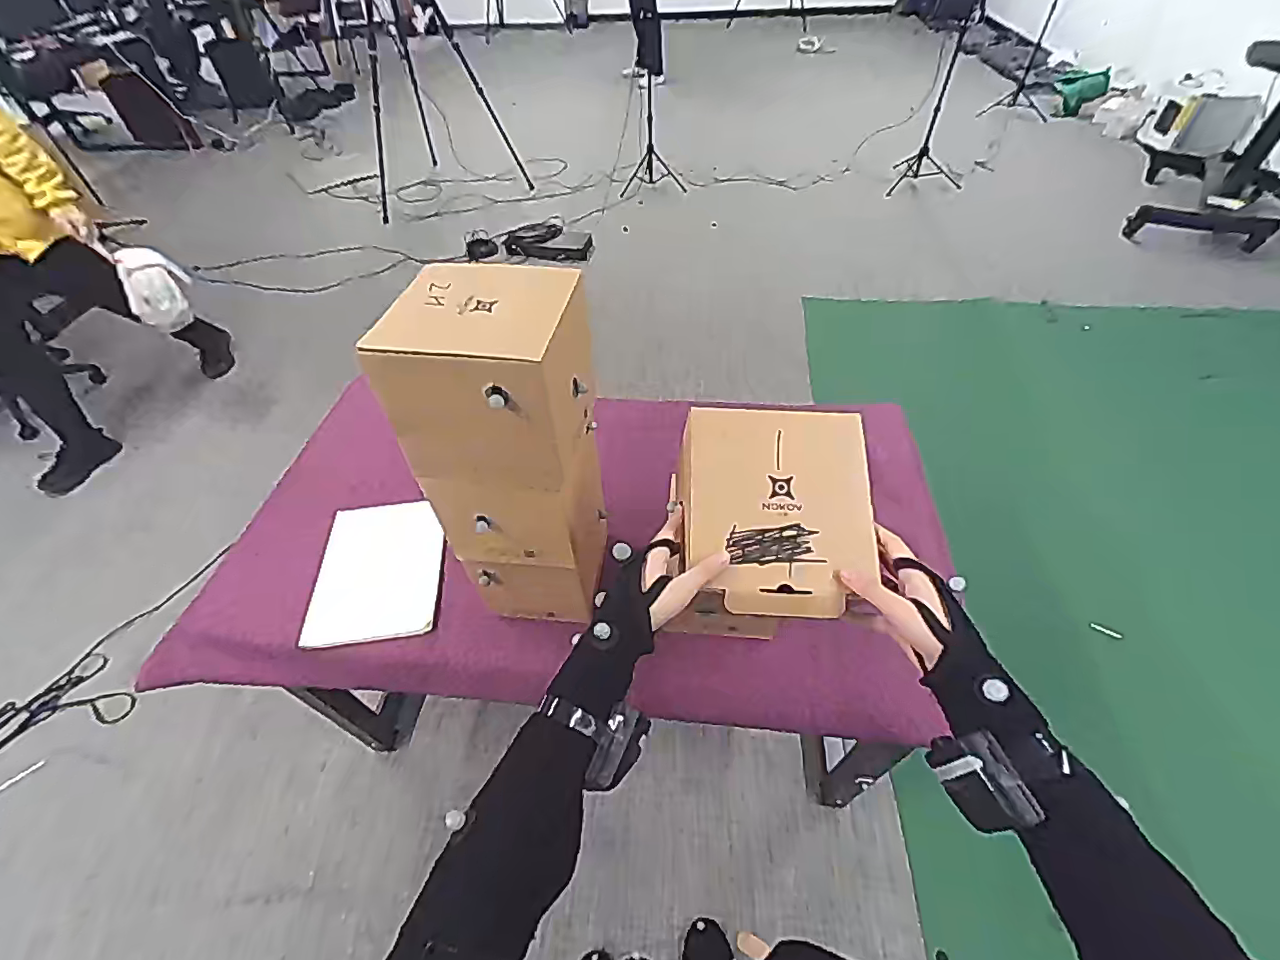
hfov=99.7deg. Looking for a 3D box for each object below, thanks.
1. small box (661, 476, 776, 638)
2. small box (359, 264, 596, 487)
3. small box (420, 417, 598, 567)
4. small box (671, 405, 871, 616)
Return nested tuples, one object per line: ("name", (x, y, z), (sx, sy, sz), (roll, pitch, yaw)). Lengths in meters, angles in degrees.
("small box", (0.122, 0.117, 0.808), (0.168, 0.176, 0.179), (4, 47, 5))
("small box", (-0.151, -0.110, 0.581), (0.179, 0.176, 0.168), (5, 47, 8))
("small box", (-0.153, -0.004, 0.708), (0.168, 0.176, 0.179), (4, 47, 6))
("small box", (0.122, 0.042, 0.565), (0.168, 0.176, 0.179), (4, 68, 0))
